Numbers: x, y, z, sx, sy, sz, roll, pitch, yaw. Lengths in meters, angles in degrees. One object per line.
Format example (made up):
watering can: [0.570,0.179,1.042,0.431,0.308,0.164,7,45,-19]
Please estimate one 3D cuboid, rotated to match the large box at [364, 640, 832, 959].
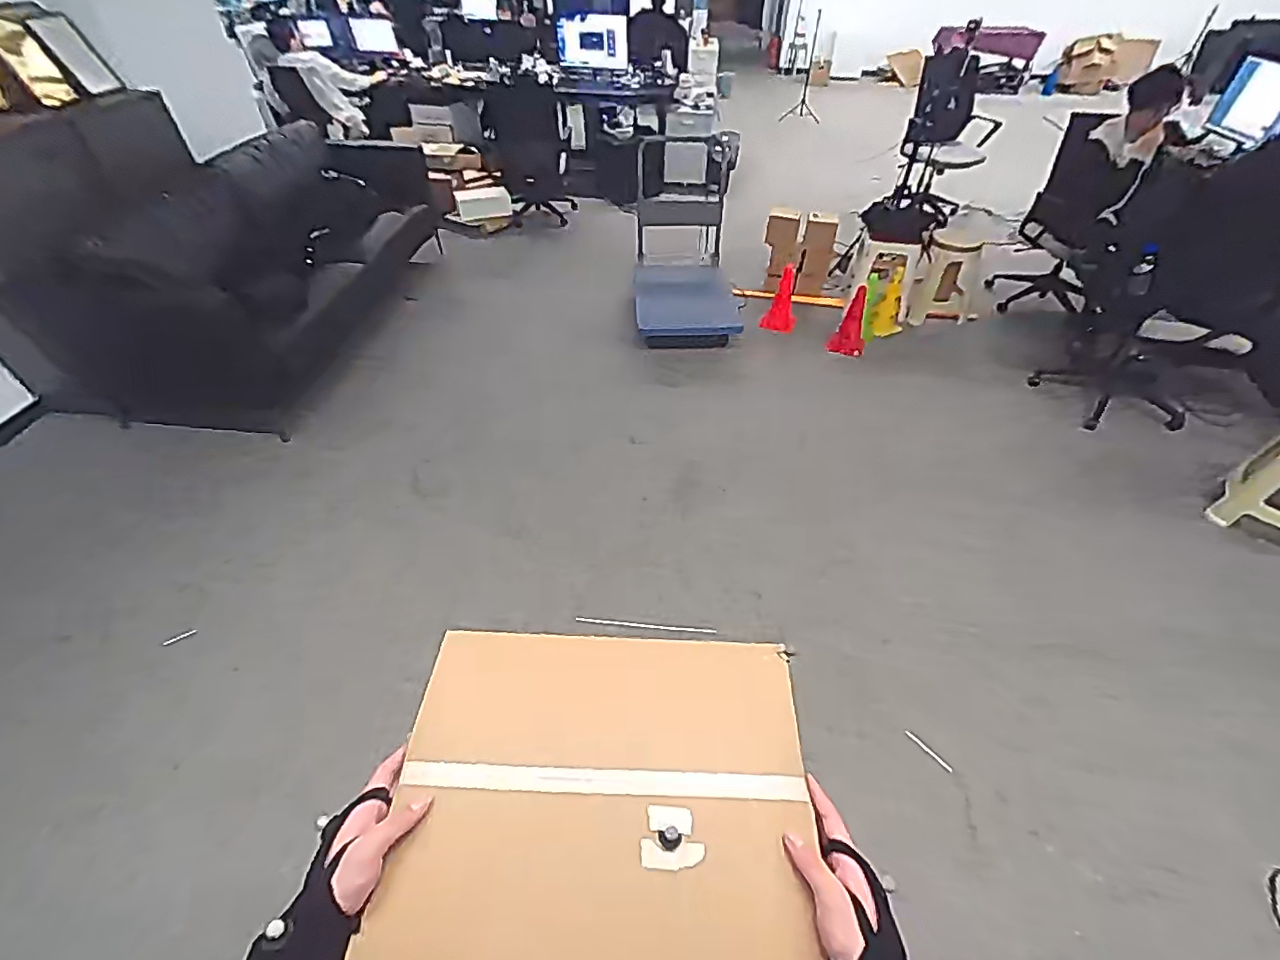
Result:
large box: [-0.036,0.413,0.656,0.408,0.320,0.320,2,46,1]
